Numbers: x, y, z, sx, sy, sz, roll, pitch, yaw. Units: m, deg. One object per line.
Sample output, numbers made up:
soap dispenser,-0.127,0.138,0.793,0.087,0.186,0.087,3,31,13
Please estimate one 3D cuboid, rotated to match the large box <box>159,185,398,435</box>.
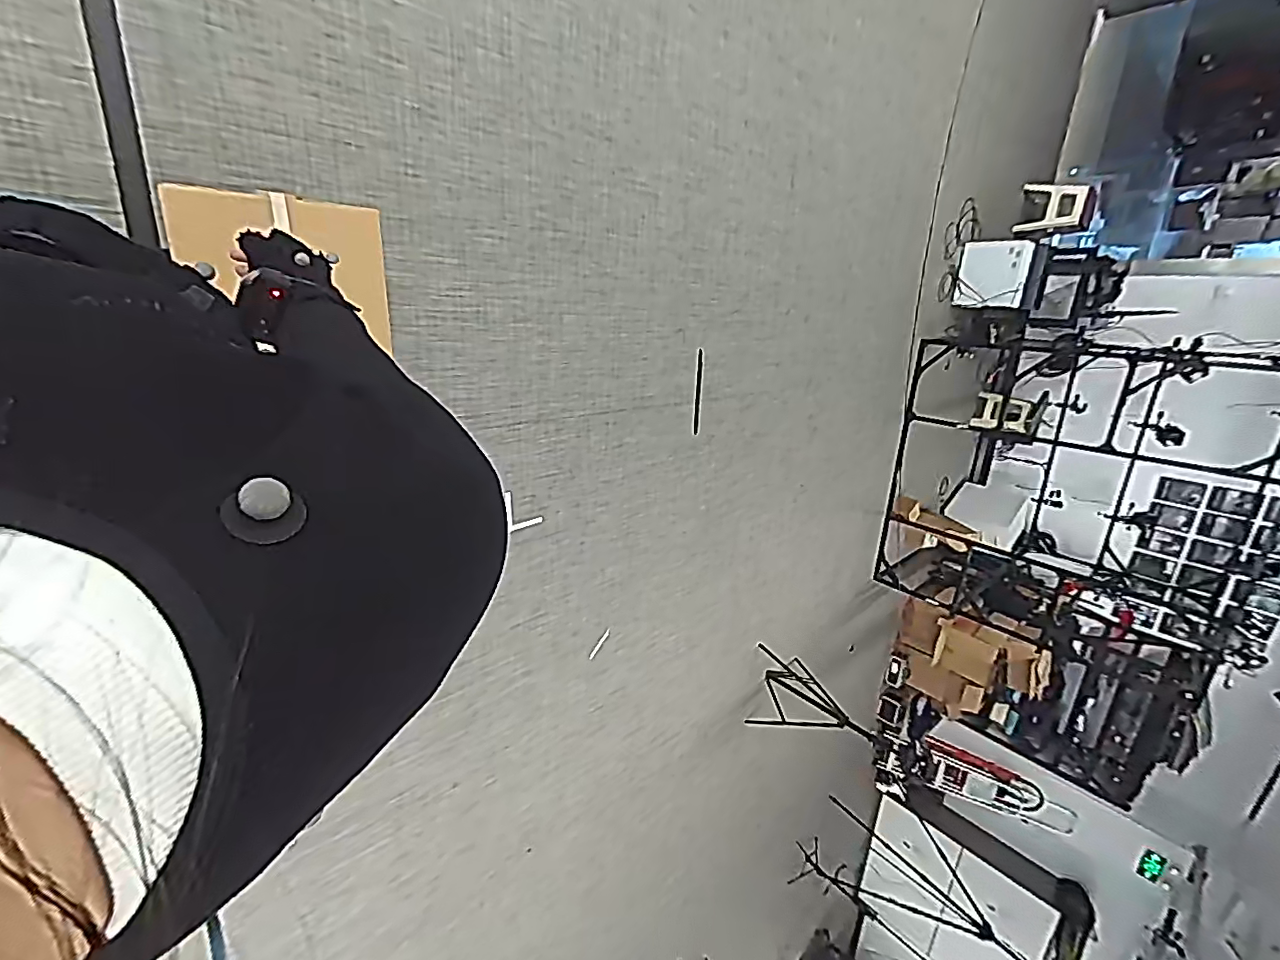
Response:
large box,-0.704,-0.334,1.082,0.320,0.320,0.408,-10,114,-34
